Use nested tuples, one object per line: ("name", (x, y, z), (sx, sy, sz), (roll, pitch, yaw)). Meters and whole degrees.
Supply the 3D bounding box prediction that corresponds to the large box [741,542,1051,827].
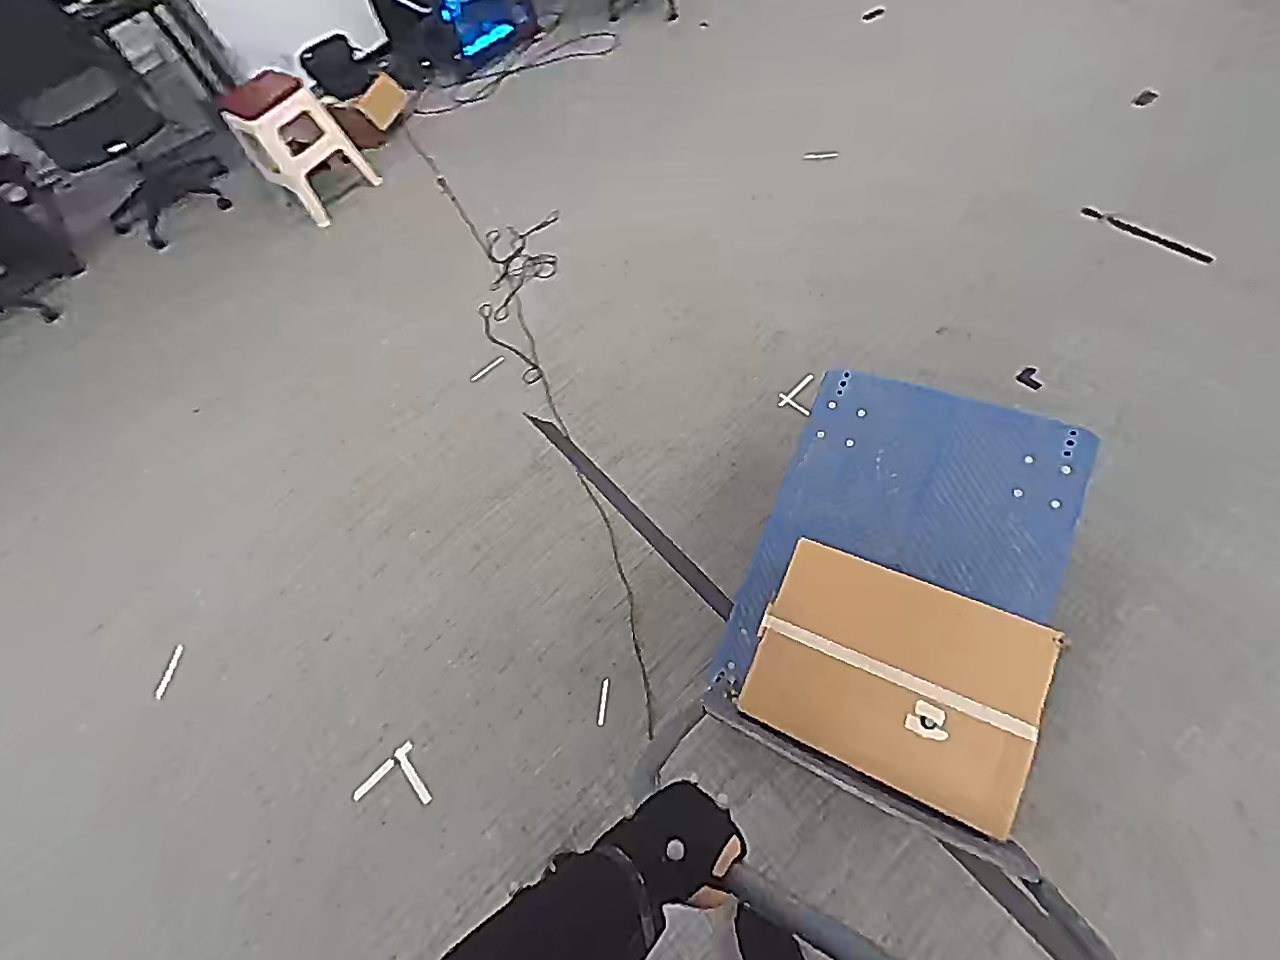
("large box", (0.436, 0.349, 1.007), (0.408, 0.320, 0.320), (20, 80, 20))
